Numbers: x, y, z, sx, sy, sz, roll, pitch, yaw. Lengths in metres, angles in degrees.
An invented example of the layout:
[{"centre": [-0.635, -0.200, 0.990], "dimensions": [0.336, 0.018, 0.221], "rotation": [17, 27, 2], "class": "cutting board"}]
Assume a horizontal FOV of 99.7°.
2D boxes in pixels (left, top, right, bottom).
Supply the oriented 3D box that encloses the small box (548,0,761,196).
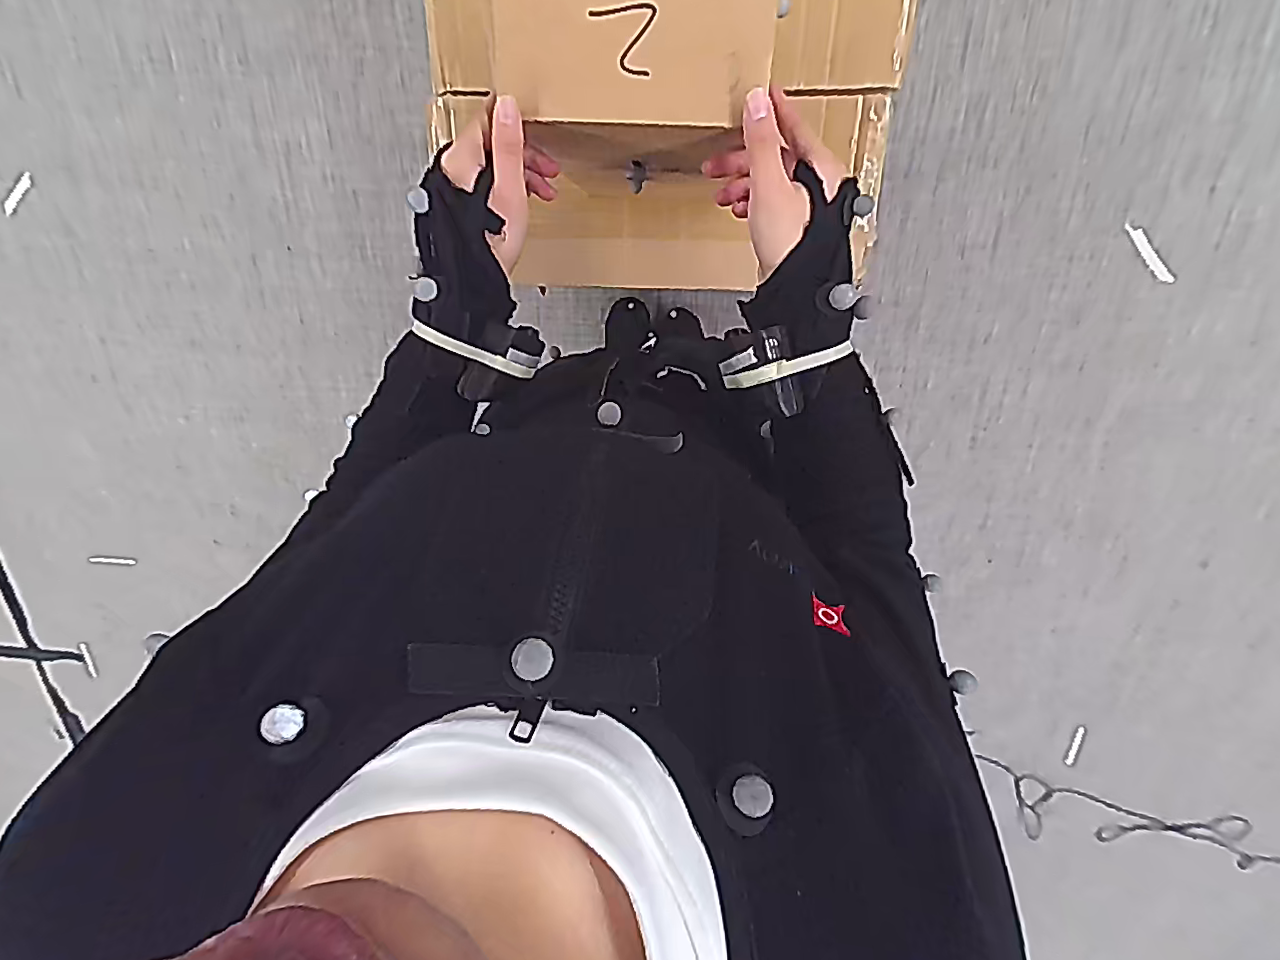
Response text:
[{"centre": [0.017, -0.383, 0.526], "dimensions": [0.179, 0.176, 0.168], "rotation": [4, 110, 3], "class": "small box"}]
